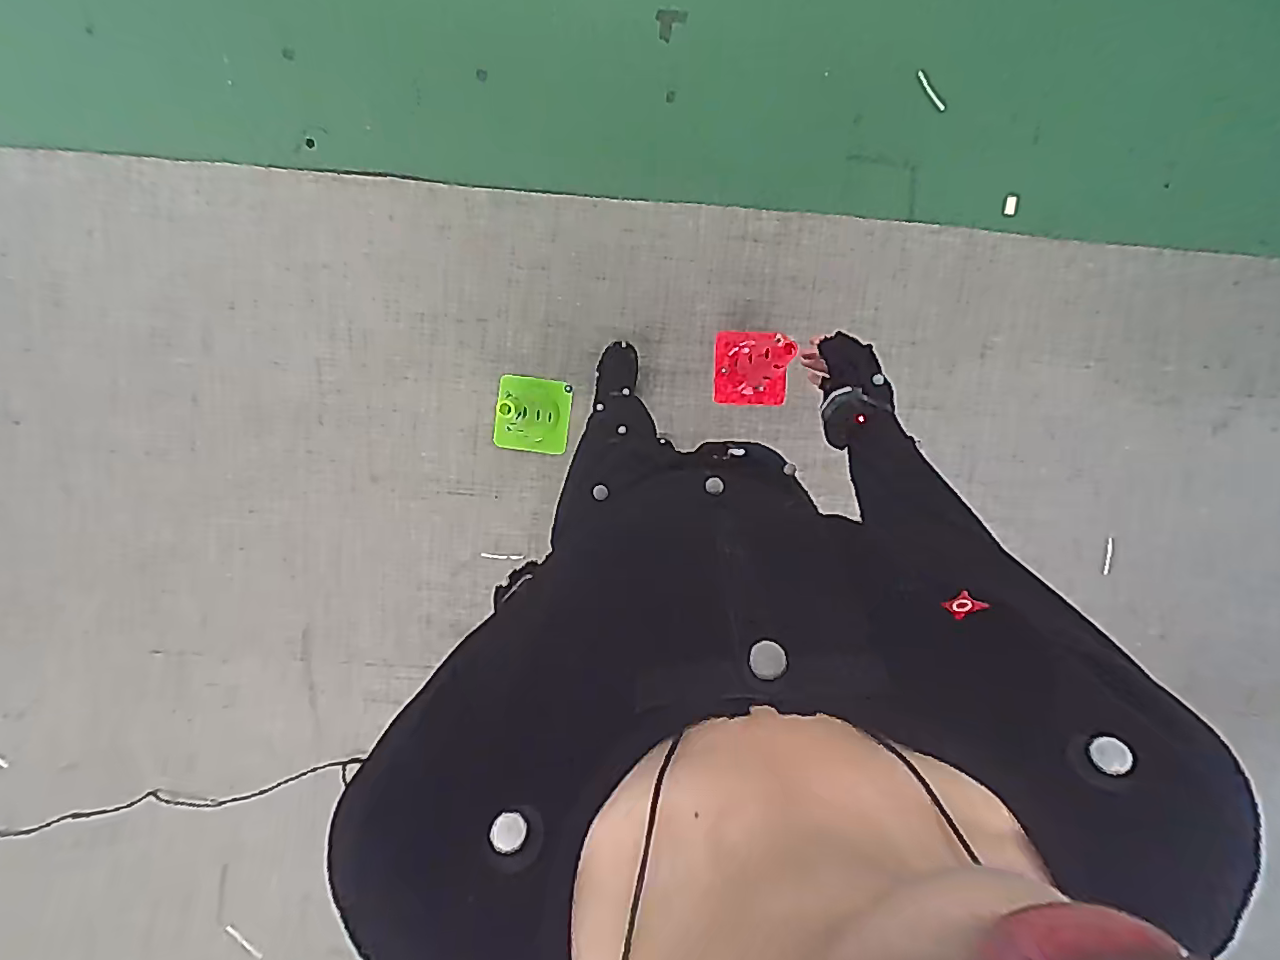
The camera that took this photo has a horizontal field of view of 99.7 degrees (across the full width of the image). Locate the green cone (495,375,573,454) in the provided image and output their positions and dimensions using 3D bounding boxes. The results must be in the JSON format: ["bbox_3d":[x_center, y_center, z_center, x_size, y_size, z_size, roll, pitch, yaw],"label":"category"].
[{"bbox_3d":[-0.285,-0.161,1.301,0.200,0.368,0.202,6,96,-2],"label":"green cone"}]
